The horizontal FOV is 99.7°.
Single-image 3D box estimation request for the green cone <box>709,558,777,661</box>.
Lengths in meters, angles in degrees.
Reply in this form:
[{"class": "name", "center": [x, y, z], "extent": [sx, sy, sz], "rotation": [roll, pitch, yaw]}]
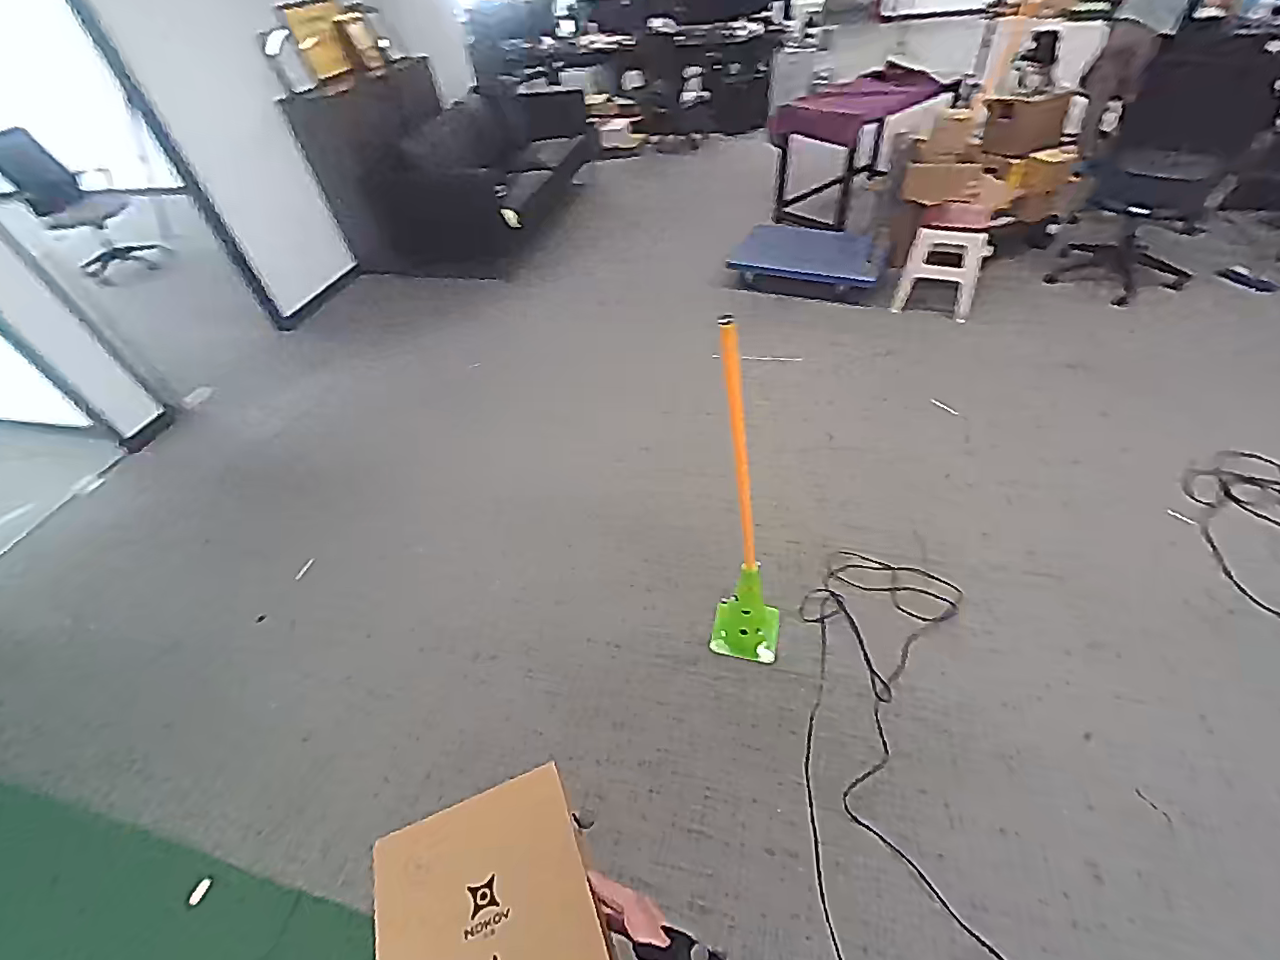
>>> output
[{"class": "green cone", "center": [0.319, 0.356, 1.616], "extent": [0.202, 0.368, 0.200], "rotation": [8, 48, 13]}]
